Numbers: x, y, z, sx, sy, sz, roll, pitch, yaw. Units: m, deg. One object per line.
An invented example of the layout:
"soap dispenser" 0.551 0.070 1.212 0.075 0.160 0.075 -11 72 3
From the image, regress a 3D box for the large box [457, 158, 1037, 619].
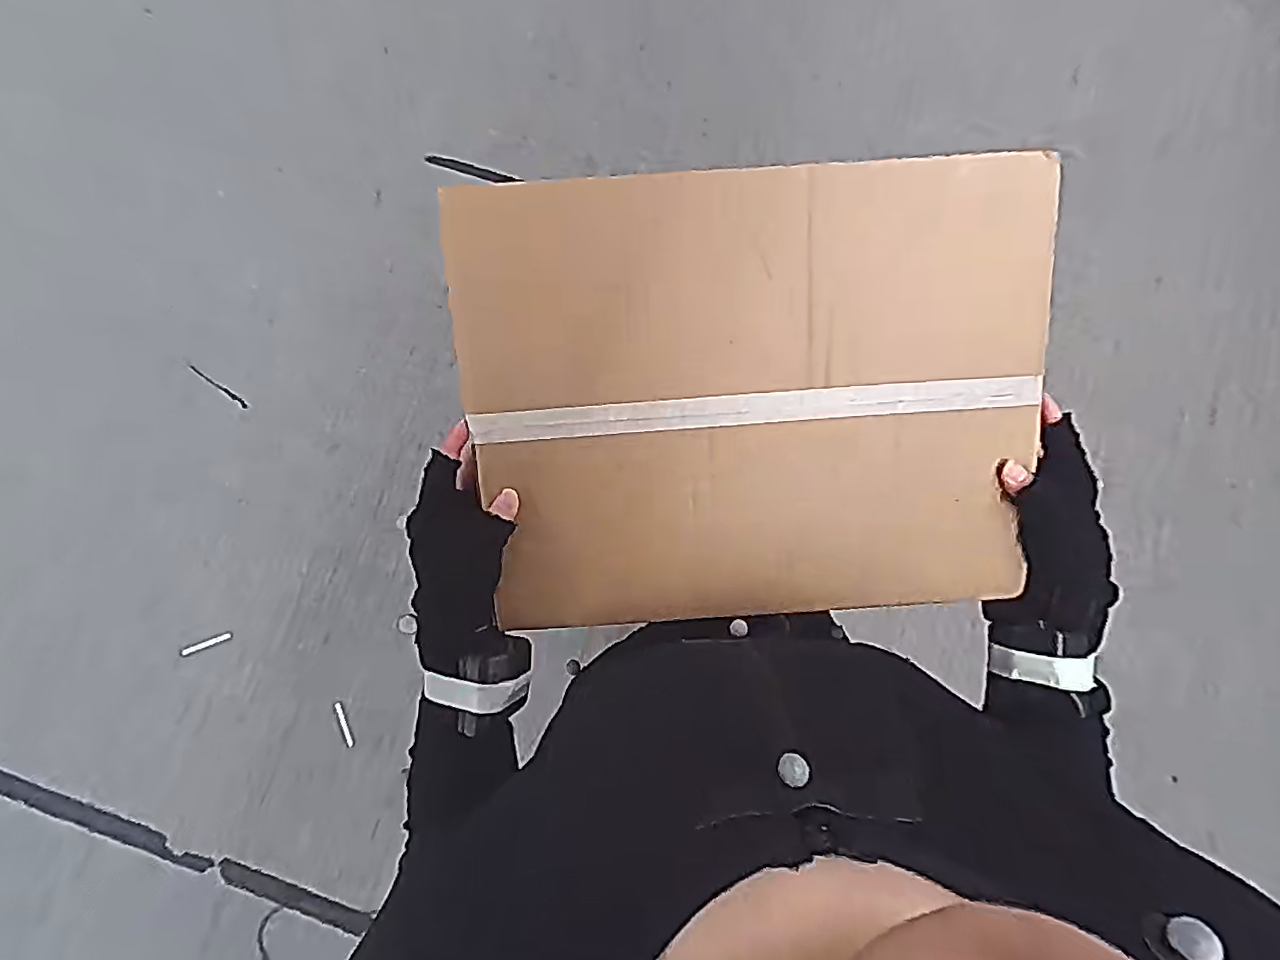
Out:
"large box" 0.078 -0.083 0.540 0.408 0.320 0.320 -4 102 -1
